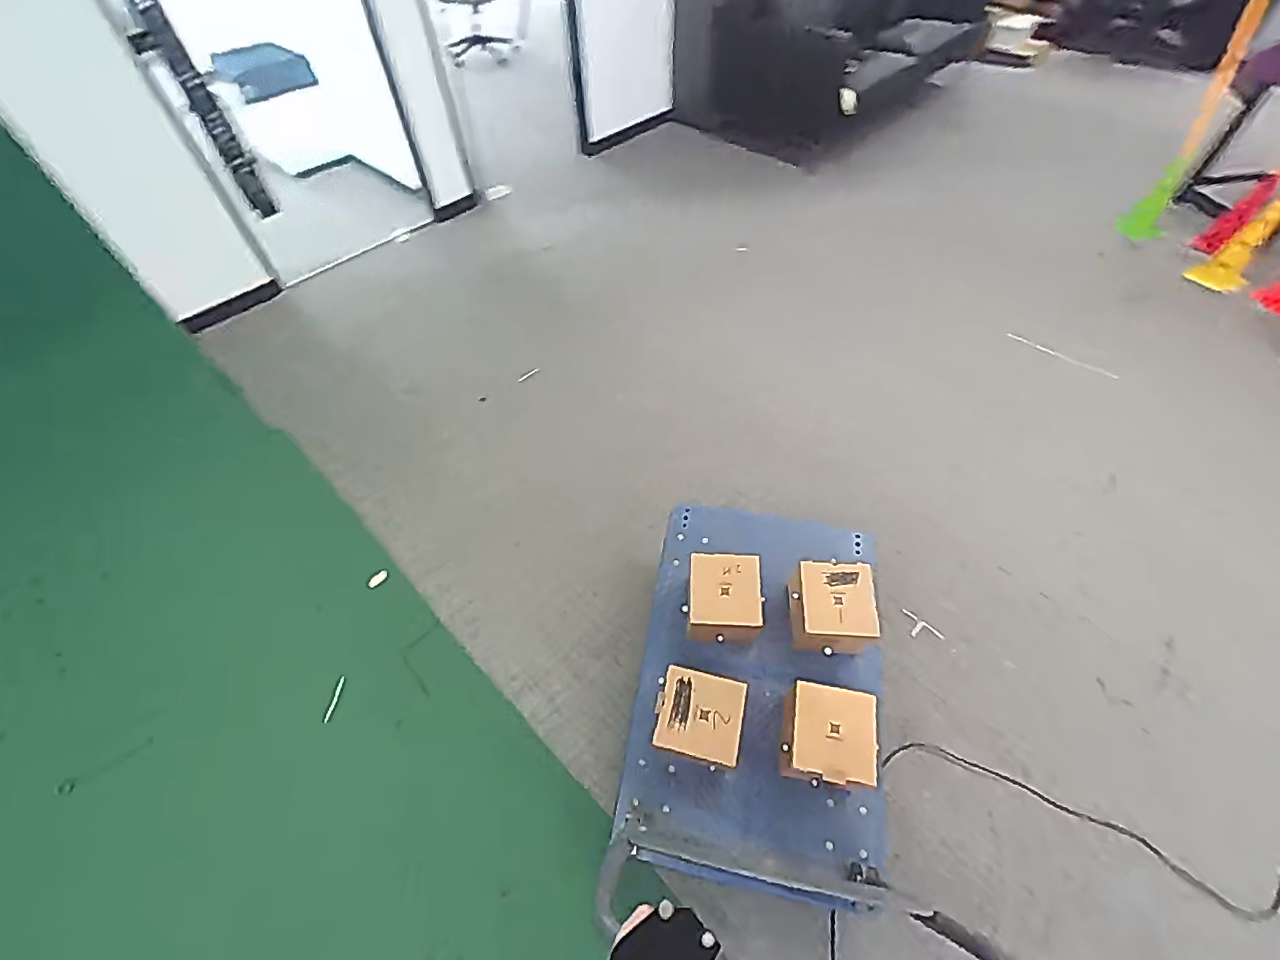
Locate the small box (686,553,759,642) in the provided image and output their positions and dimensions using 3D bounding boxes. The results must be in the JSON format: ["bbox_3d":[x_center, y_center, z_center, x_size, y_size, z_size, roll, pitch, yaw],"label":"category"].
[{"bbox_3d":[0.201,0.296,1.344,0.168,0.176,0.179,2,59,3],"label":"small box"}]

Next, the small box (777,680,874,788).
[{"bbox_3d":[0.400,0.557,1.181,0.168,0.176,0.179,9,60,8],"label":"small box"}]

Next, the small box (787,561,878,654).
[{"bbox_3d":[0.460,0.314,1.322,0.168,0.176,0.179,2,60,5],"label":"small box"}]
